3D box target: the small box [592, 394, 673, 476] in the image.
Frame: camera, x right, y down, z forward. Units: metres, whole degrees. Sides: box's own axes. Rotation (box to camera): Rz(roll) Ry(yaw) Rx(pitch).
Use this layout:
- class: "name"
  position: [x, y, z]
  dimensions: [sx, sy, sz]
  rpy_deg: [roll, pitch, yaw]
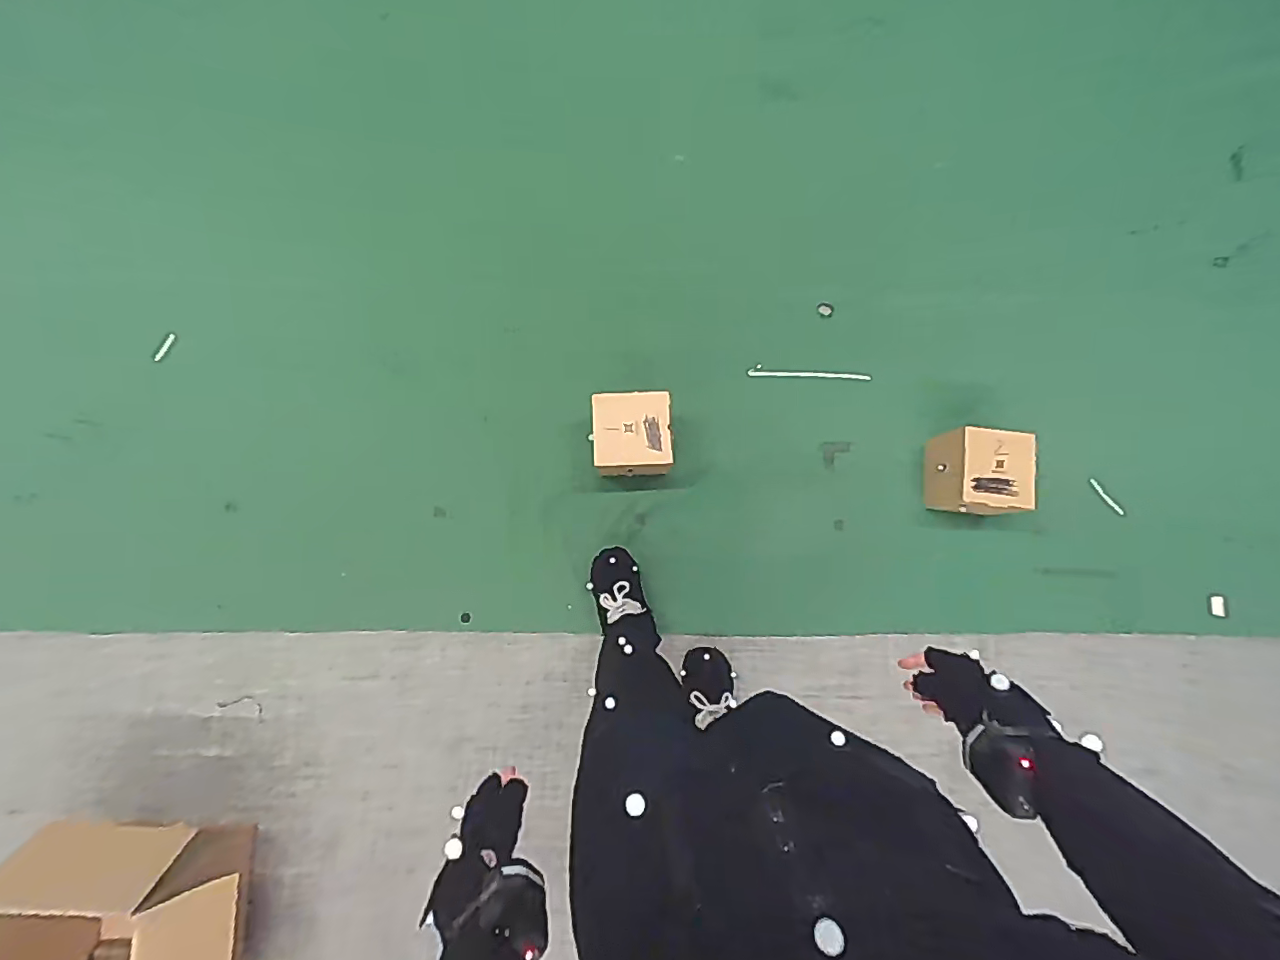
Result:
- class: "small box"
  position: [-0.019, -0.101, 1.267]
  dimensions: [0.179, 0.176, 0.168]
  rpy_deg: [-2, 83, -1]
